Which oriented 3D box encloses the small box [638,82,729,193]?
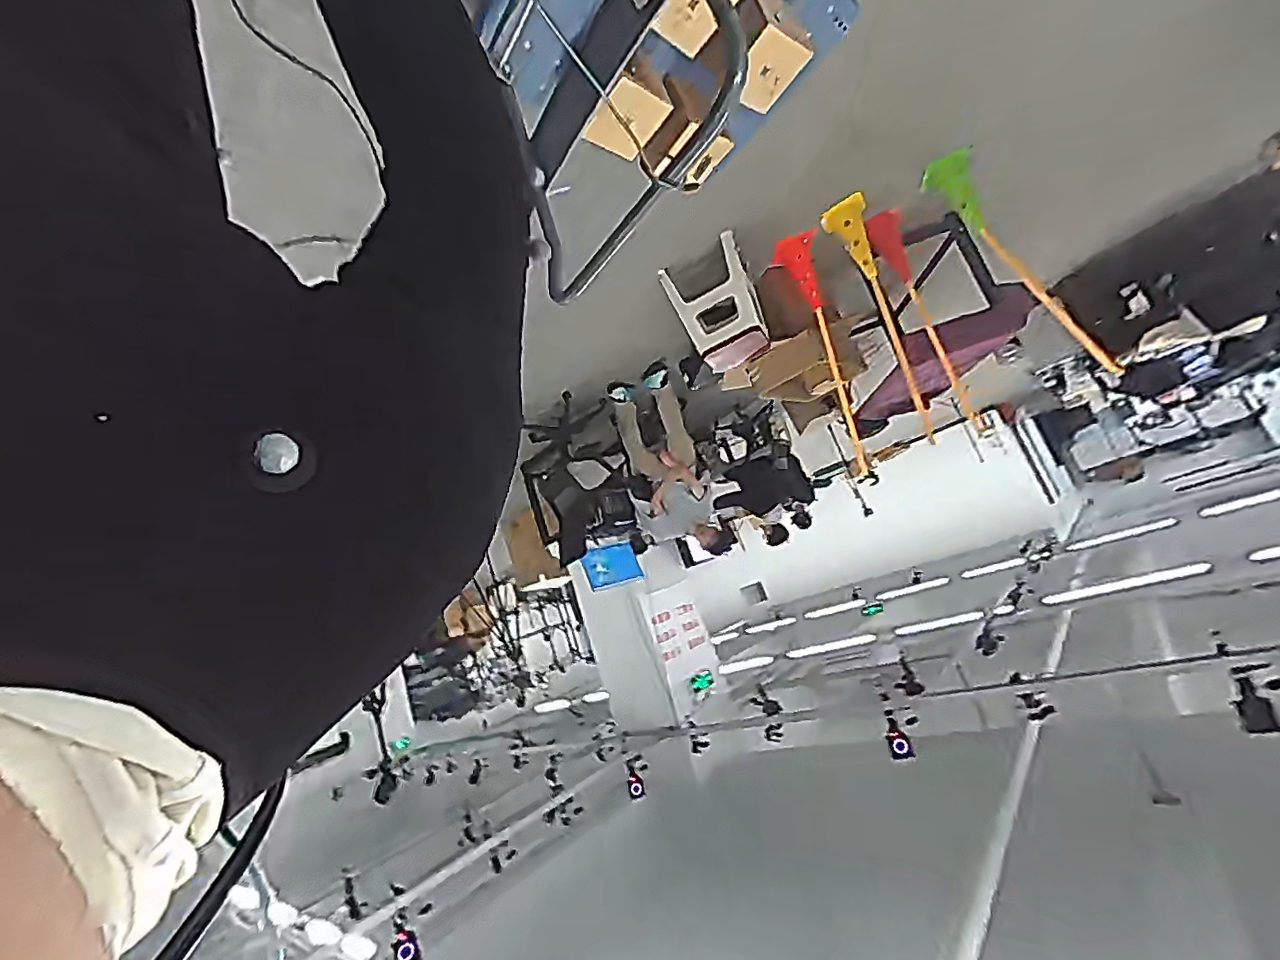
[{"bbox_3d":[0.106,-0.932,1.475,0.179,0.176,0.168,-6,160,-41],"label":"small box"}]

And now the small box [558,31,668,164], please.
[{"bbox_3d":[-0.068,-0.914,1.298,0.179,0.176,0.168,-5,160,-45],"label":"small box"}]
